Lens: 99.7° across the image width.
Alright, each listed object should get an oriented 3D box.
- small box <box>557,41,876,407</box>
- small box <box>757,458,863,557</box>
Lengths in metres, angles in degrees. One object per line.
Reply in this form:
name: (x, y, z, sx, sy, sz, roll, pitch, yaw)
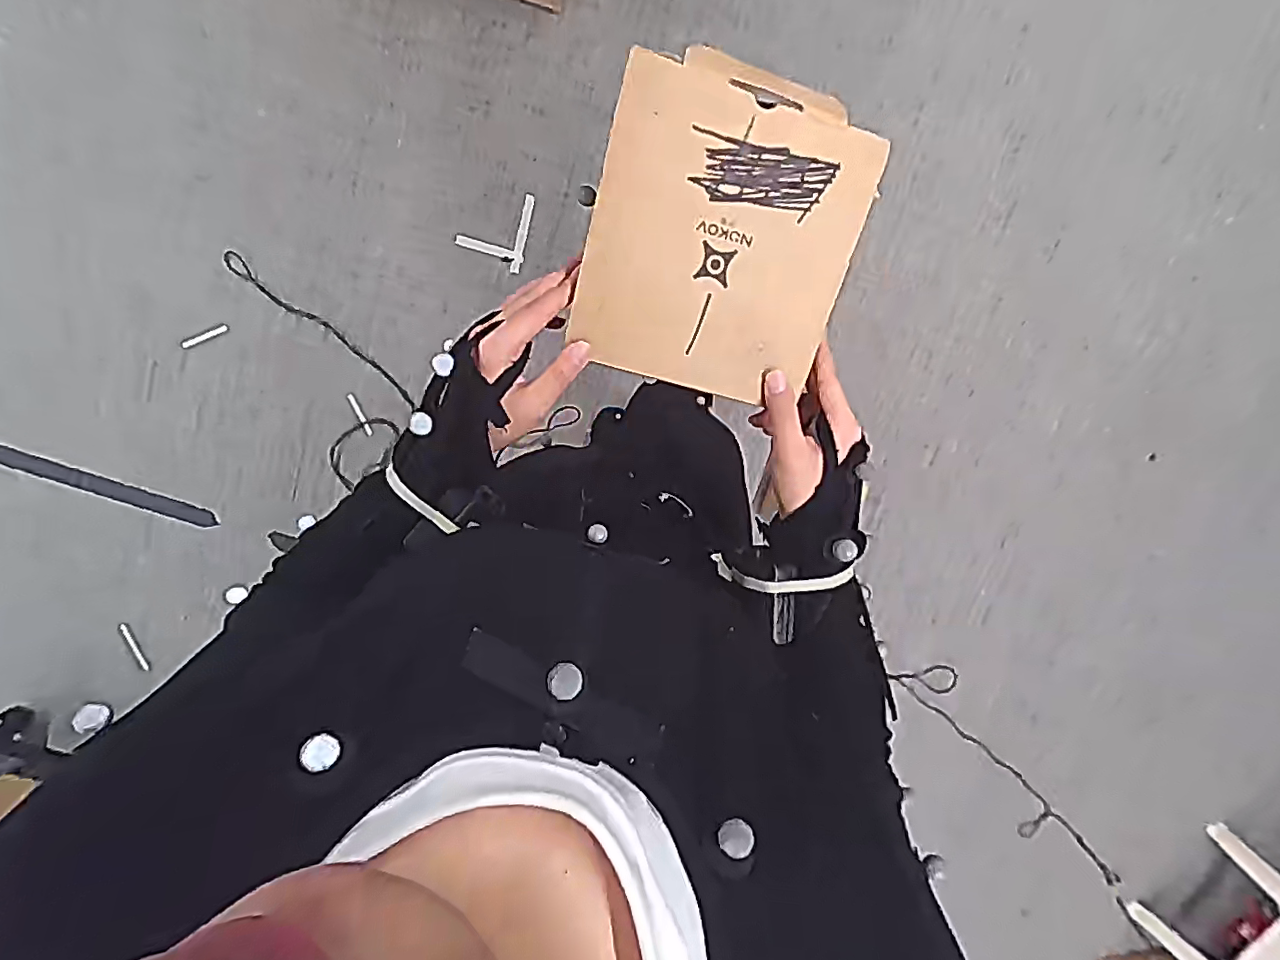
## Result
small box: (0.037, -0.173, 0.412, 0.168, 0.176, 0.179, 13, 107, -9)
small box: (0.395, 0.057, 1.295, 0.168, 0.176, 0.179, 18, 100, -4)
